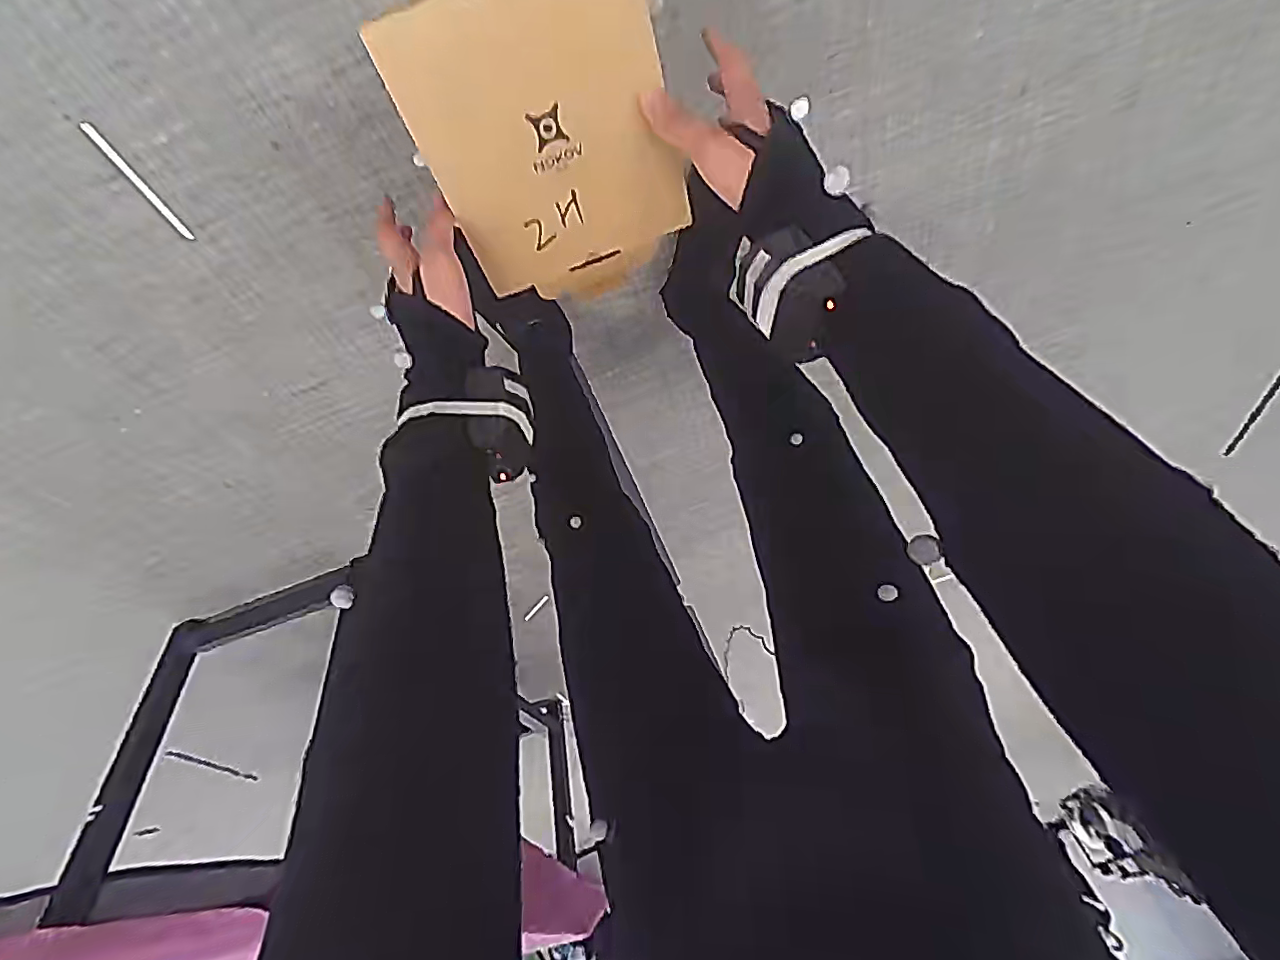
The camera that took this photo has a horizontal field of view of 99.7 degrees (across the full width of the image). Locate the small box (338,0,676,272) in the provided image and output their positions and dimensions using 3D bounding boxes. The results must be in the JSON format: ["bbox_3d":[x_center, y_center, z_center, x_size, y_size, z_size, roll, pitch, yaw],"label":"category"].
[{"bbox_3d":[-0.087,-0.294,0.401,0.168,0.176,0.179,-19,138,3],"label":"small box"}]
